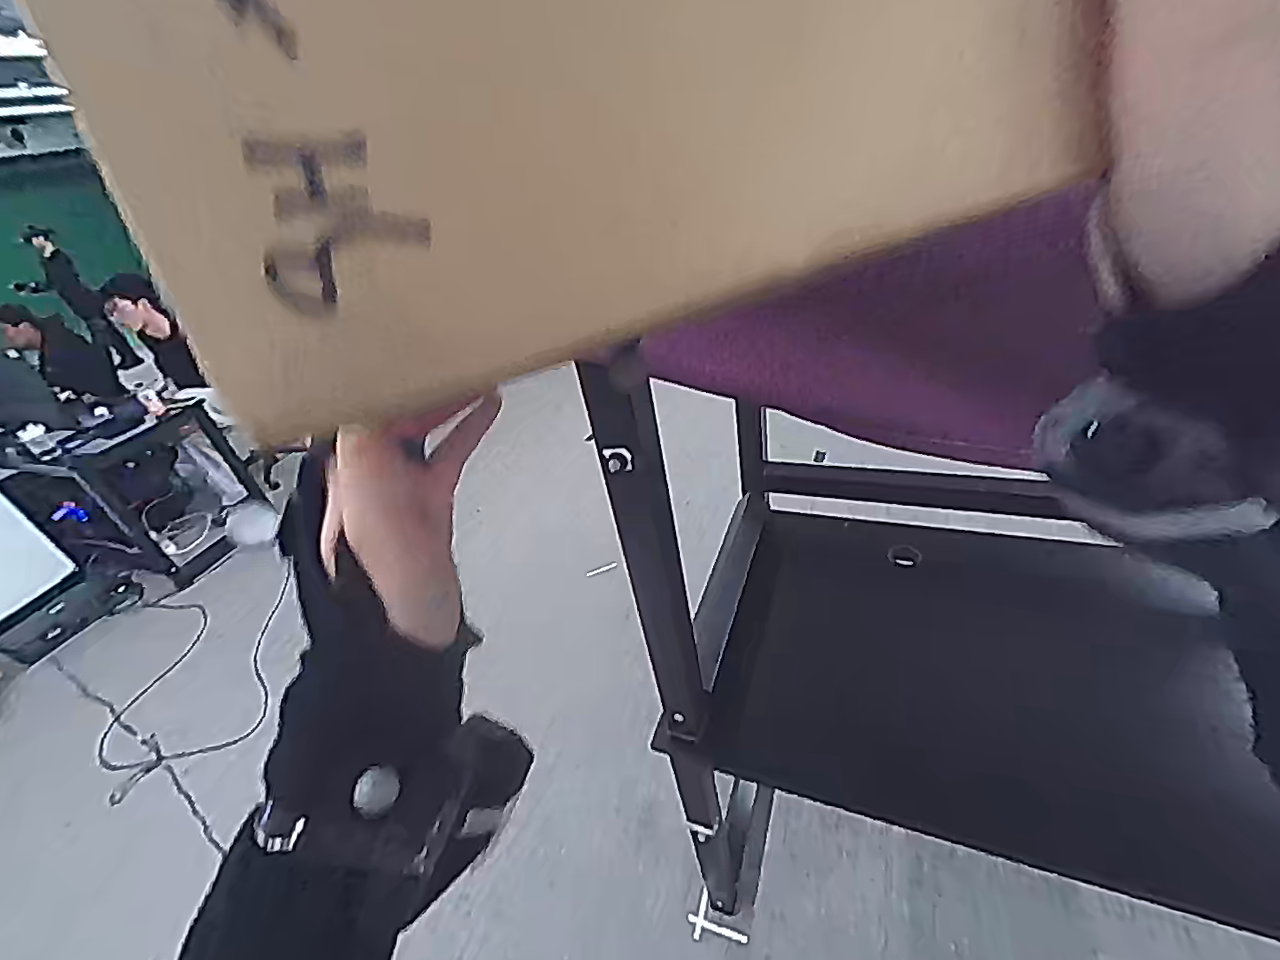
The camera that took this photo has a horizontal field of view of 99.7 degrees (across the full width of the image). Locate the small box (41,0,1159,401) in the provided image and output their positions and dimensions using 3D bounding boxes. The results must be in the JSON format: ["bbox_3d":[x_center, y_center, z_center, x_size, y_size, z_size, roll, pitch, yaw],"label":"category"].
[{"bbox_3d":[-0.020,-0.128,0.151,0.179,0.168,0.176,-20,13,-9],"label":"small box"}]
